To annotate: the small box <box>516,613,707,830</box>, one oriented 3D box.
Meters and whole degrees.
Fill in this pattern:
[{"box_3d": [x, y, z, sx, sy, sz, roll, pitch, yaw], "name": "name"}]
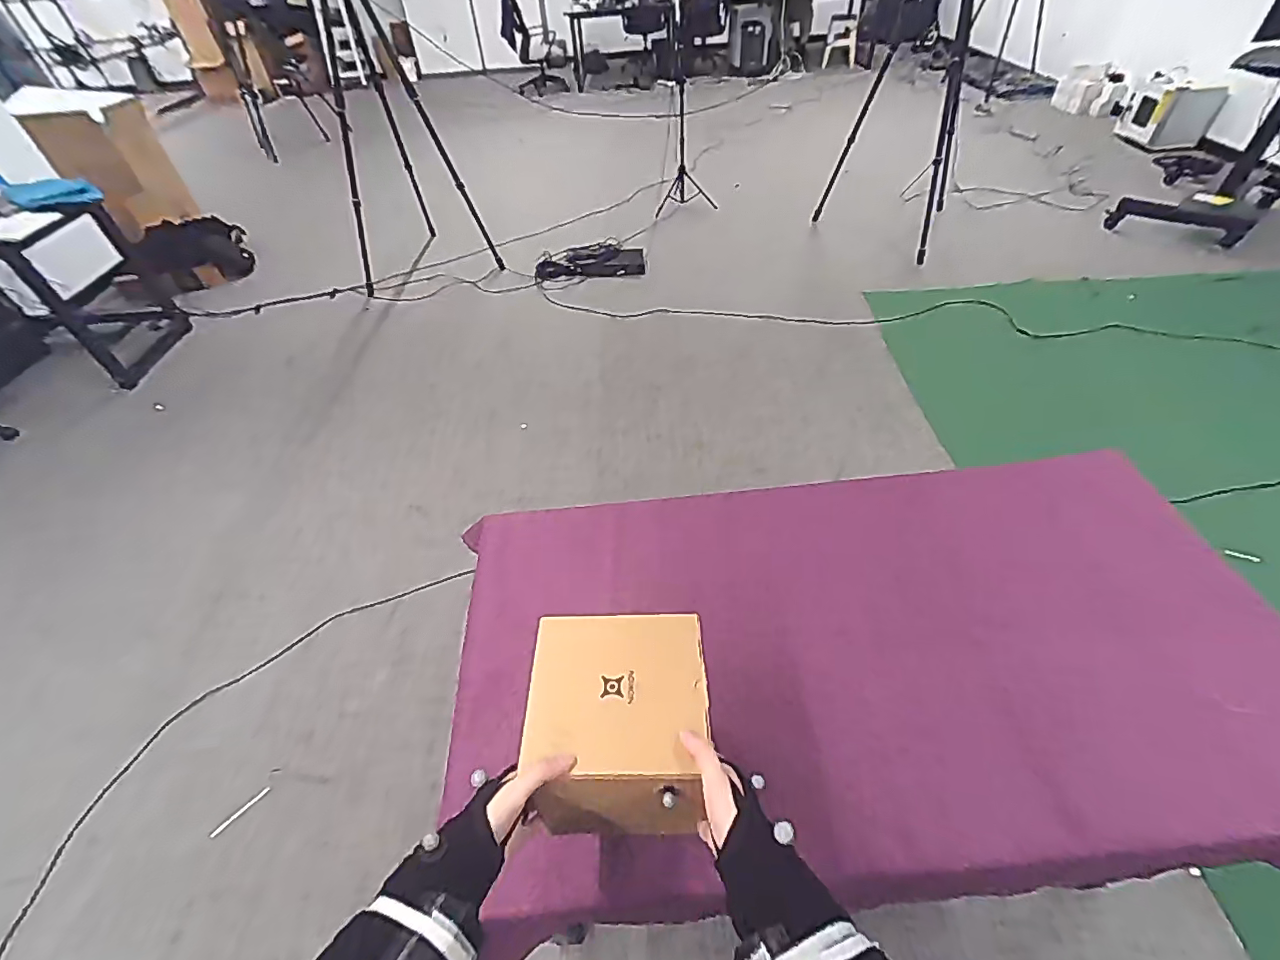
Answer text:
[{"box_3d": [-0.021, 0.264, 0.591, 0.179, 0.176, 0.168, -2, 41, 2], "name": "small box"}]
